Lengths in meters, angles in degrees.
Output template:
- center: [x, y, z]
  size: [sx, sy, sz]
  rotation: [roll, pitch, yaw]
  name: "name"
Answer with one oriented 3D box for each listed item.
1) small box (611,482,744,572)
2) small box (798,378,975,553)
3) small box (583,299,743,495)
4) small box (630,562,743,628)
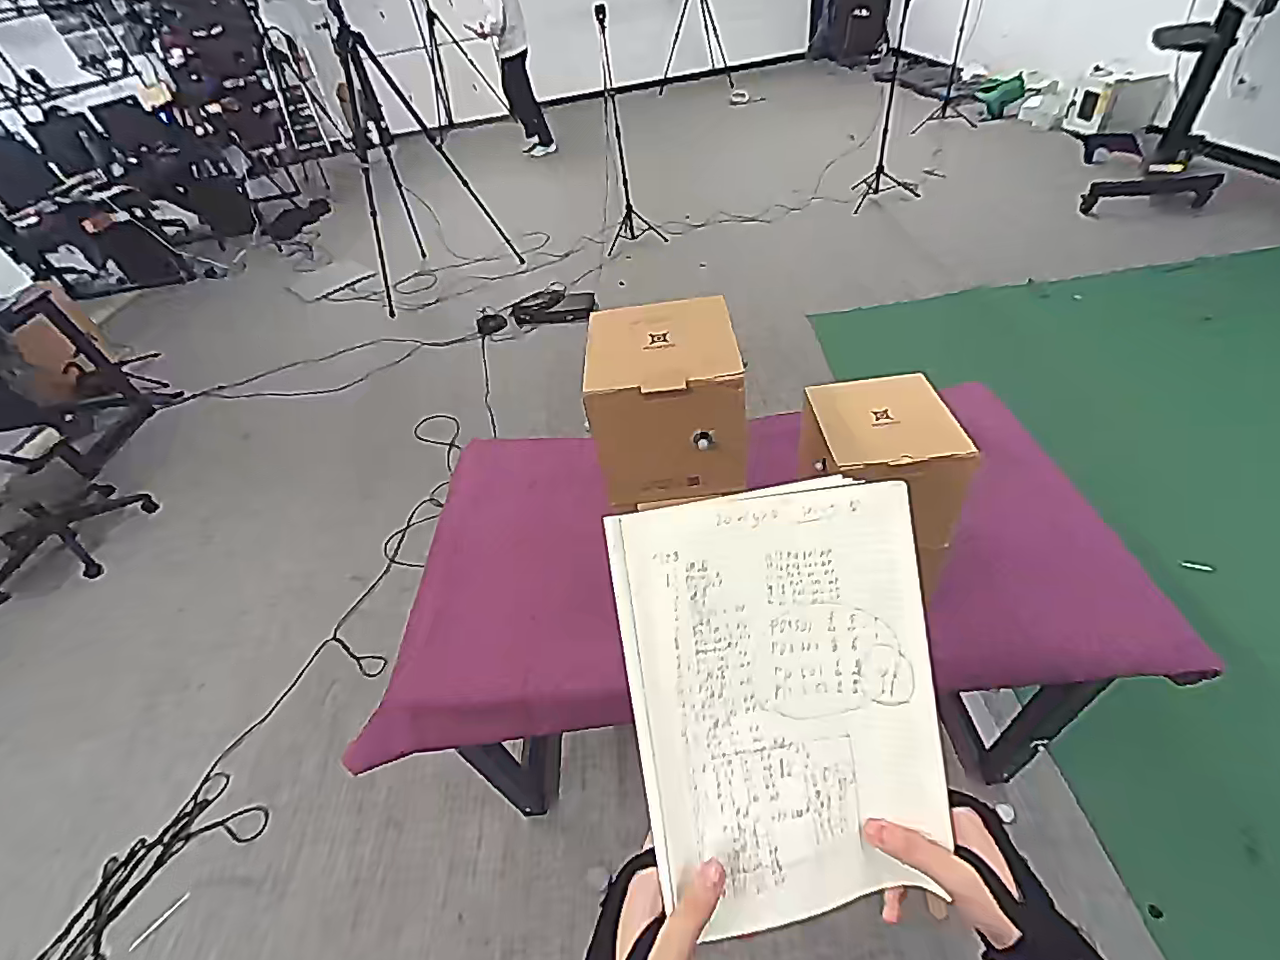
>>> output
- center: [0.055, 0.018, 0.774]
  size: [0.168, 0.176, 0.179]
  rotation: [-6, 43, 5]
  name: "small box"
- center: [0.325, -0.020, 0.759]
  size: [0.168, 0.176, 0.179]
  rotation: [-6, 43, 5]
  name: "small box"
- center: [0.033, -0.094, 0.657]
  size: [0.168, 0.176, 0.179]
  rotation: [-5, 44, 5]
  name: "small box"
- center: [0.077, 0.130, 0.892]
  size: [0.168, 0.176, 0.179]
  rotation: [-6, 45, 5]
  name: "small box"
